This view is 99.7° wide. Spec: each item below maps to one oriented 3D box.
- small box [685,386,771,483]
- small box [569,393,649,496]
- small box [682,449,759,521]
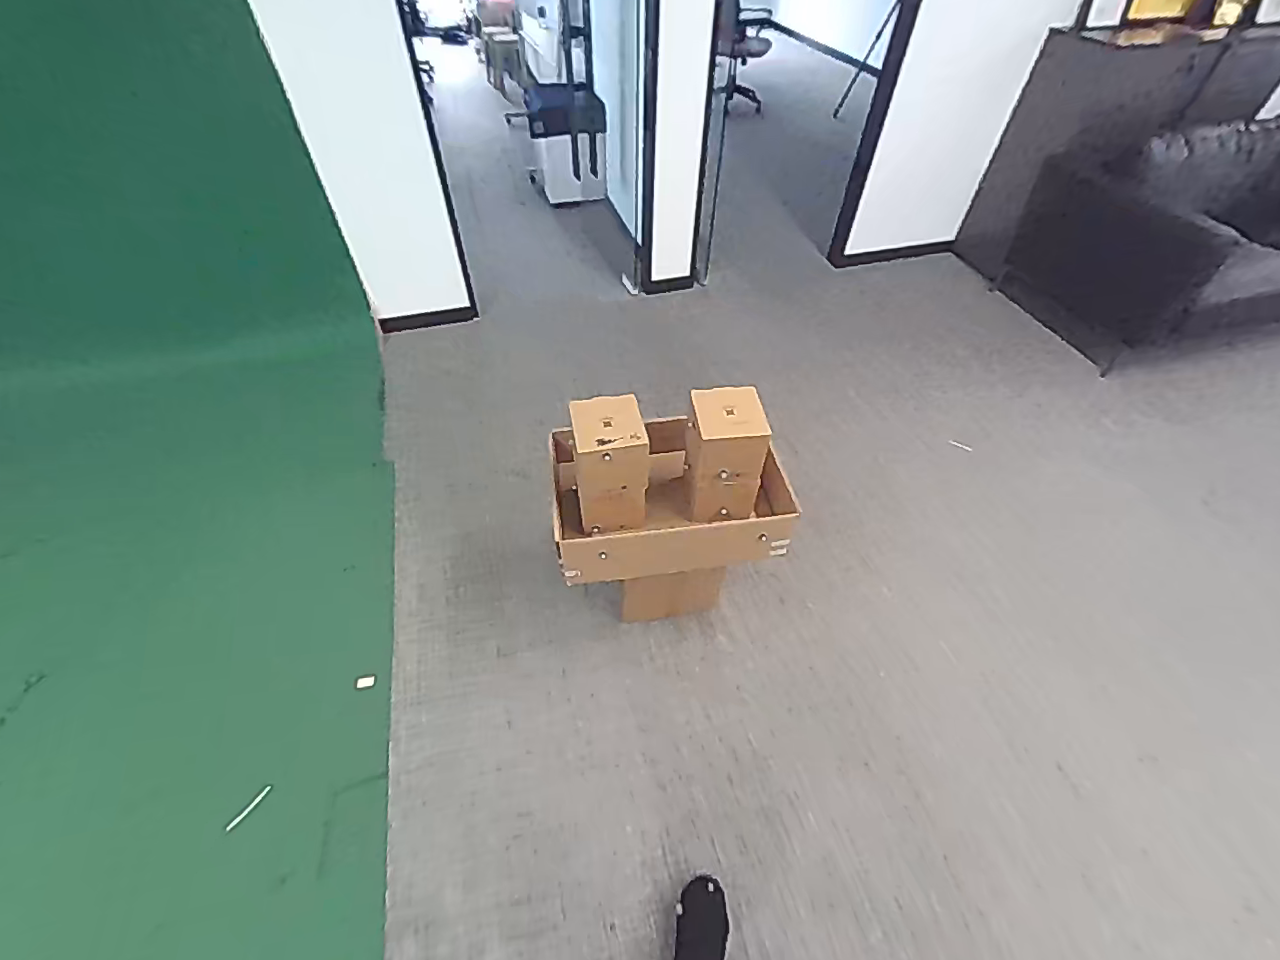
[{"bbox_3d":[0.210,-0.113,1.348,0.168,0.176,0.179,-4,50,-4],"label":"small box"},{"bbox_3d":[-0.078,-0.086,1.315,0.168,0.176,0.179,-9,50,-8],"label":"small box"},{"bbox_3d":[0.212,-0.008,1.473,0.168,0.176,0.179,-3,50,-4],"label":"small box"}]
